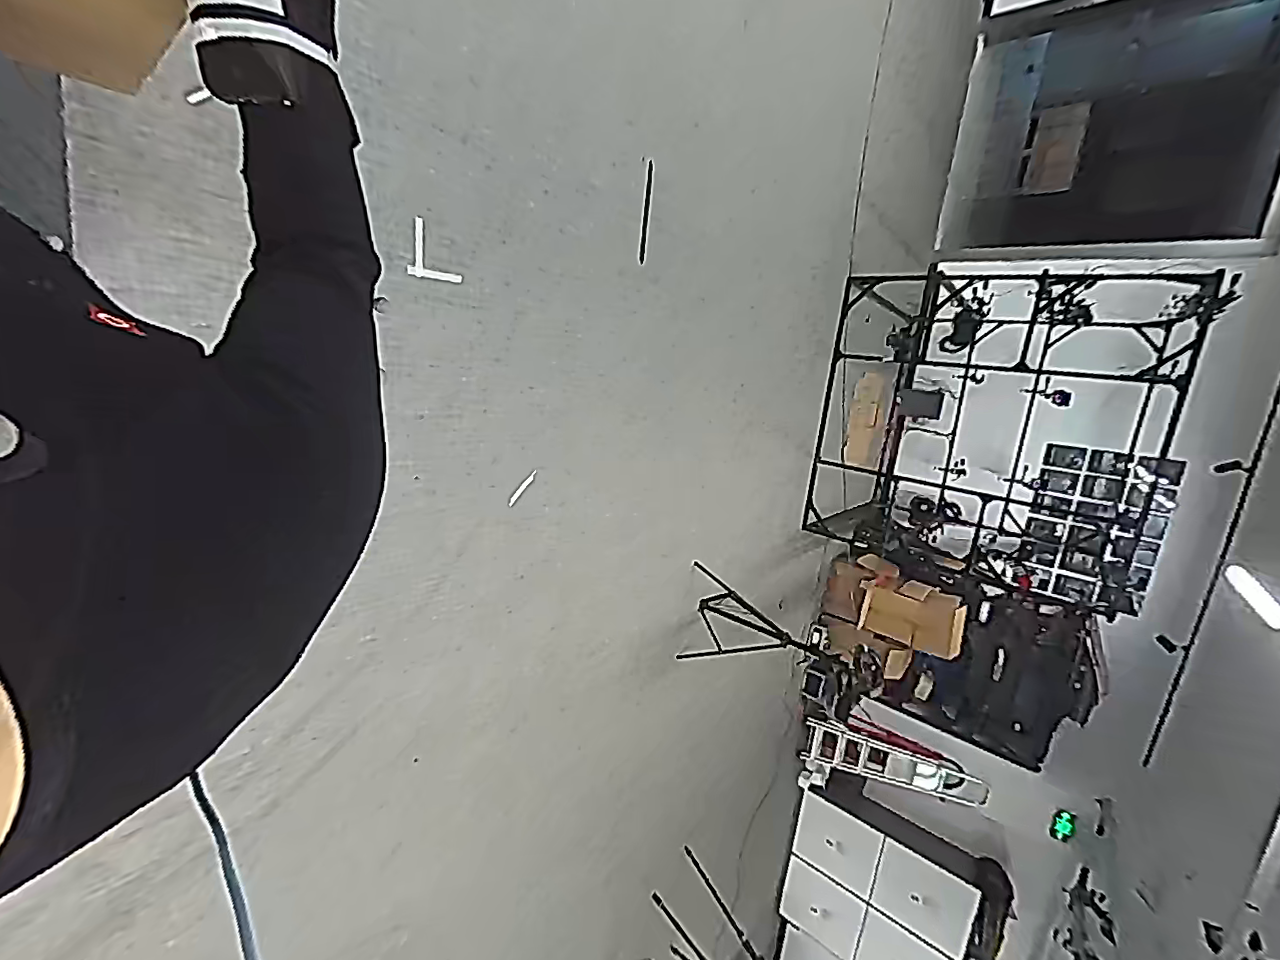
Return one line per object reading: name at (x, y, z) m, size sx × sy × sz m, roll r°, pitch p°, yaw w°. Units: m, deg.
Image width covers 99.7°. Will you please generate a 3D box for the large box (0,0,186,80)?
large box at (-0.487, -0.472, 0.242) m, size 0.408 × 0.320 × 0.320 m, roll -12°, pitch 109°, yaw -50°
